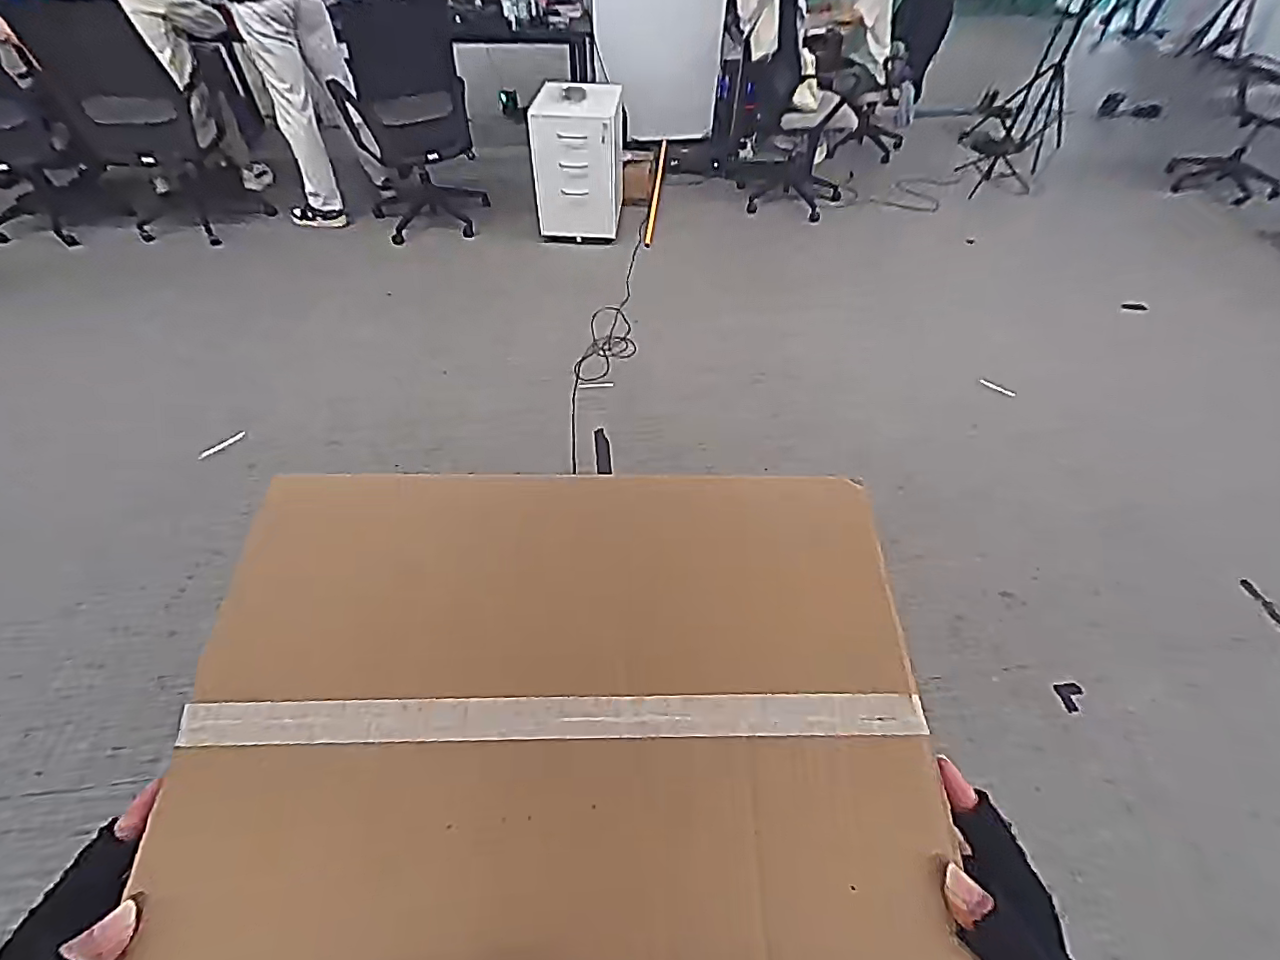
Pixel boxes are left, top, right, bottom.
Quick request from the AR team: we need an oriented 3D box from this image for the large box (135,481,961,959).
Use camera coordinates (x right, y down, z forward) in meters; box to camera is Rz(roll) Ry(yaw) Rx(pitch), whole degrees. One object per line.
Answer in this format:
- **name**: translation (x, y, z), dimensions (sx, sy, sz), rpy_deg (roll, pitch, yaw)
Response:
- **large box**: translation (-0.049, 0.209, 0.444), dimensions (0.408, 0.320, 0.320), rpy_deg (0, 61, -2)
